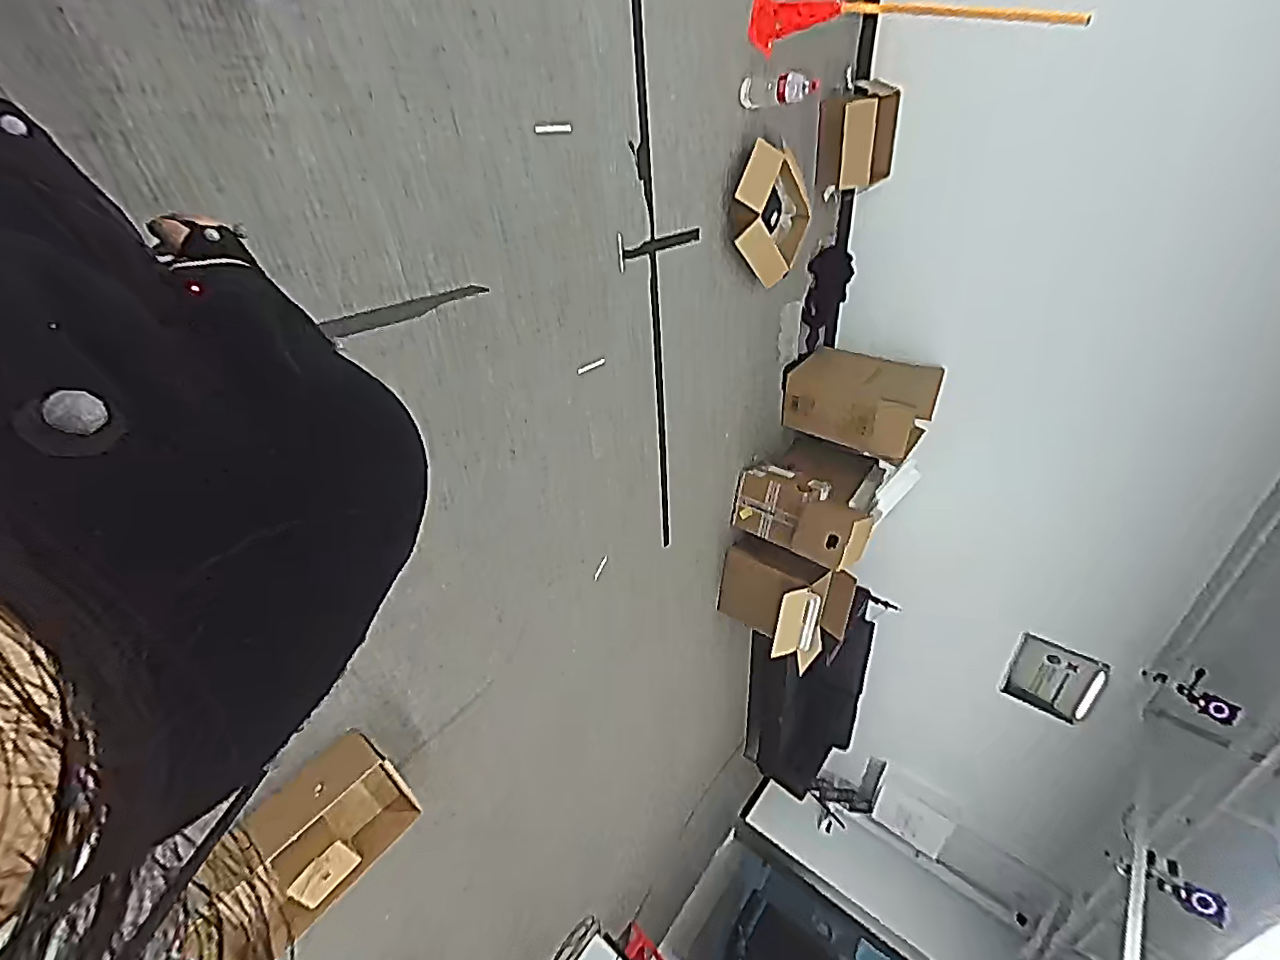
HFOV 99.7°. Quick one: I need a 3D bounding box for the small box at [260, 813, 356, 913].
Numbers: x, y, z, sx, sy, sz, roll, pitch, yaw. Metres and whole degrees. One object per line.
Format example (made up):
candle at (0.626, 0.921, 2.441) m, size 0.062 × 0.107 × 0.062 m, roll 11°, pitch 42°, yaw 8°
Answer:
small box at (-1.037, 1.190, 1.688) m, size 0.168 × 0.176 × 0.179 m, roll -41°, pitch 138°, yaw -35°
